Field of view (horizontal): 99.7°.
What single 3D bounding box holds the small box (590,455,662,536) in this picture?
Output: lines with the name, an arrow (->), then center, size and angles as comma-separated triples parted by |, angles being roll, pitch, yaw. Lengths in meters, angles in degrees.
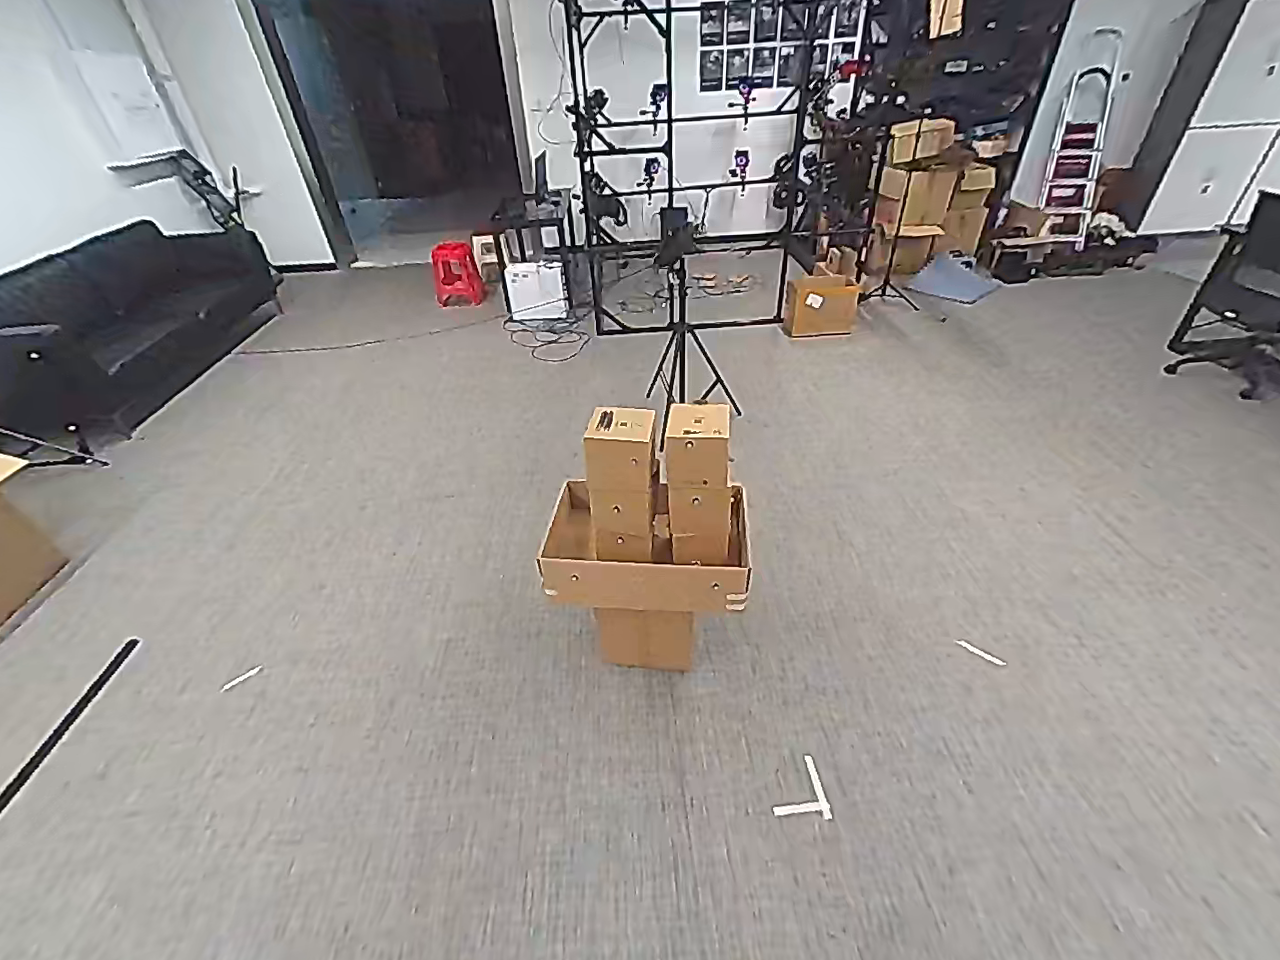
small box -> -0.035, 0.046, 1.598 | 0.179, 0.176, 0.168 | 6, 38, 11

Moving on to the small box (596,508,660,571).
small box -> -0.031, 0.168, 1.706 | 0.179, 0.176, 0.168 | 4, 37, 8
